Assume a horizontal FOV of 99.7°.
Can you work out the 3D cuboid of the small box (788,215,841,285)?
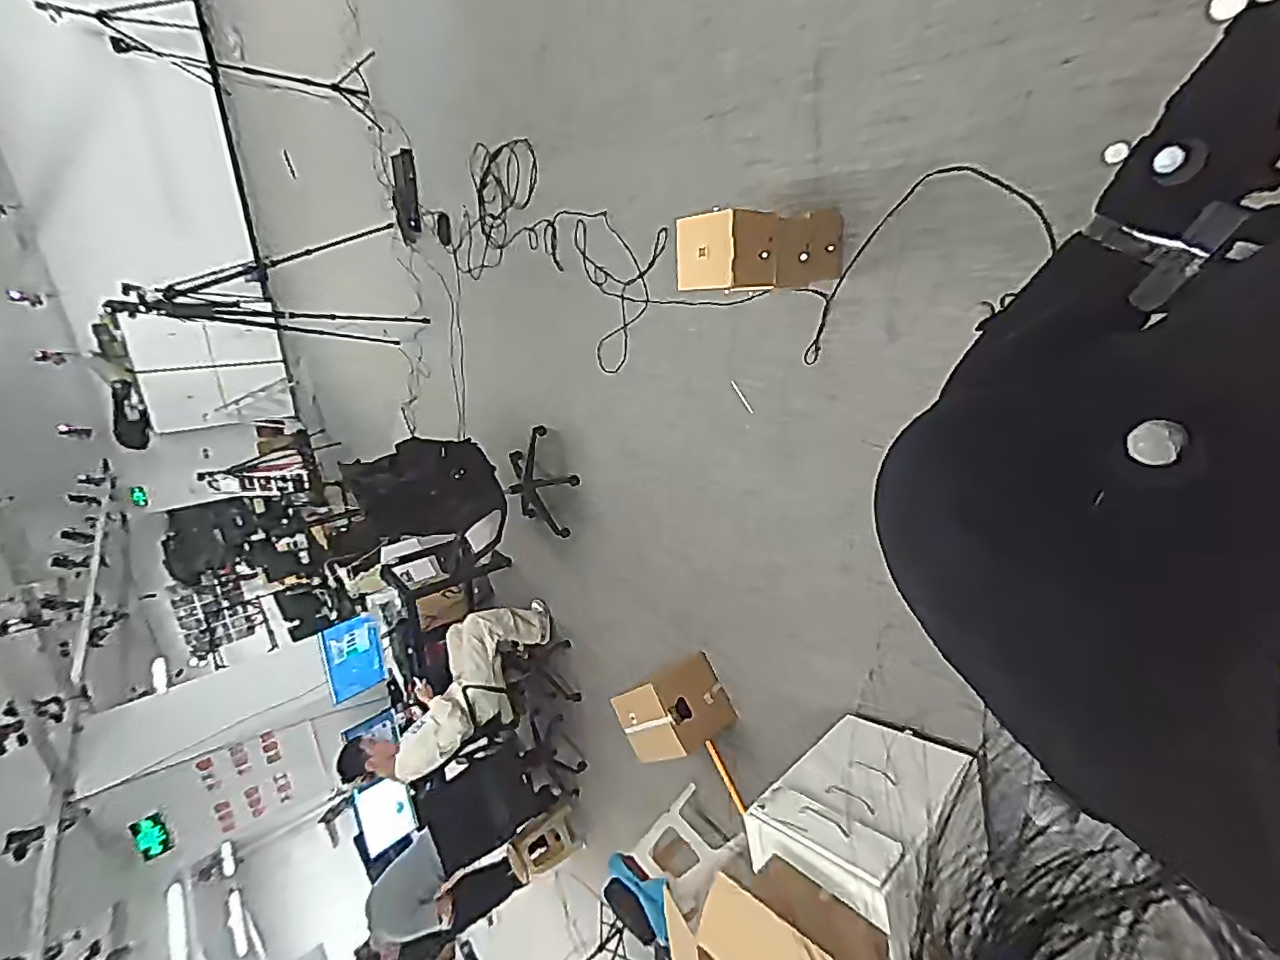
[{"bbox_3d":[0.450,-0.641,1.528,0.179,0.176,0.168,13,113,48],"label":"small box"}]

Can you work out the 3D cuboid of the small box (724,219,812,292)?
[{"bbox_3d":[0.330,-0.585,1.430,0.179,0.176,0.168,17,117,46],"label":"small box"}]

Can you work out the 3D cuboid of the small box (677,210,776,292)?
[{"bbox_3d":[0.210,-0.552,1.325,0.179,0.176,0.168,16,115,46],"label":"small box"}]
